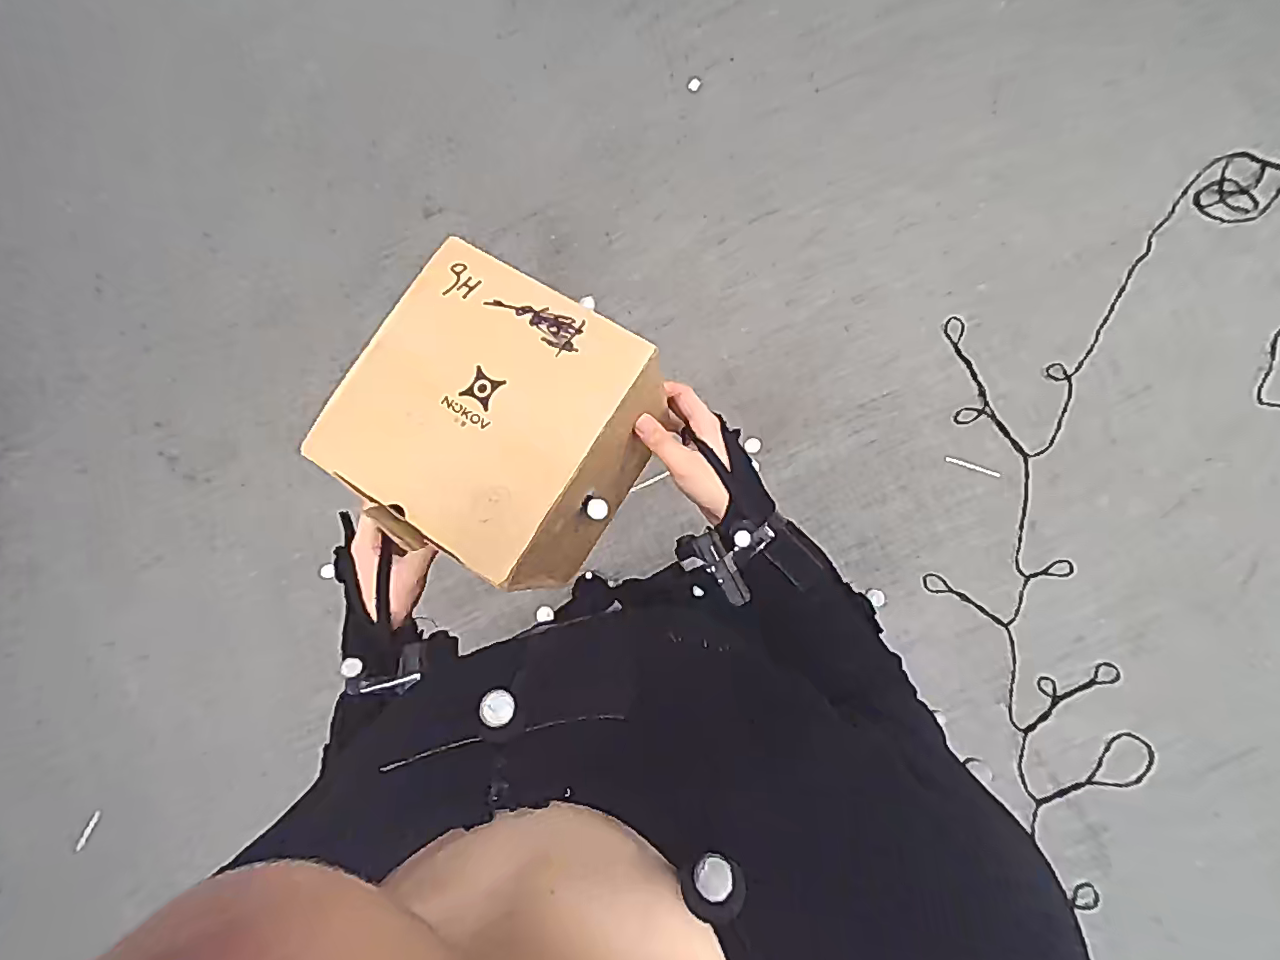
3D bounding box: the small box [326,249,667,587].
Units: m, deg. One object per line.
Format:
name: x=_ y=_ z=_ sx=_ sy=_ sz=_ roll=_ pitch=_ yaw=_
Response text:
small box: x=-0.088 y=-0.033 z=0.428 sx=0.168 sy=0.176 sz=0.179 roll=30 pitch=85 yaw=10
